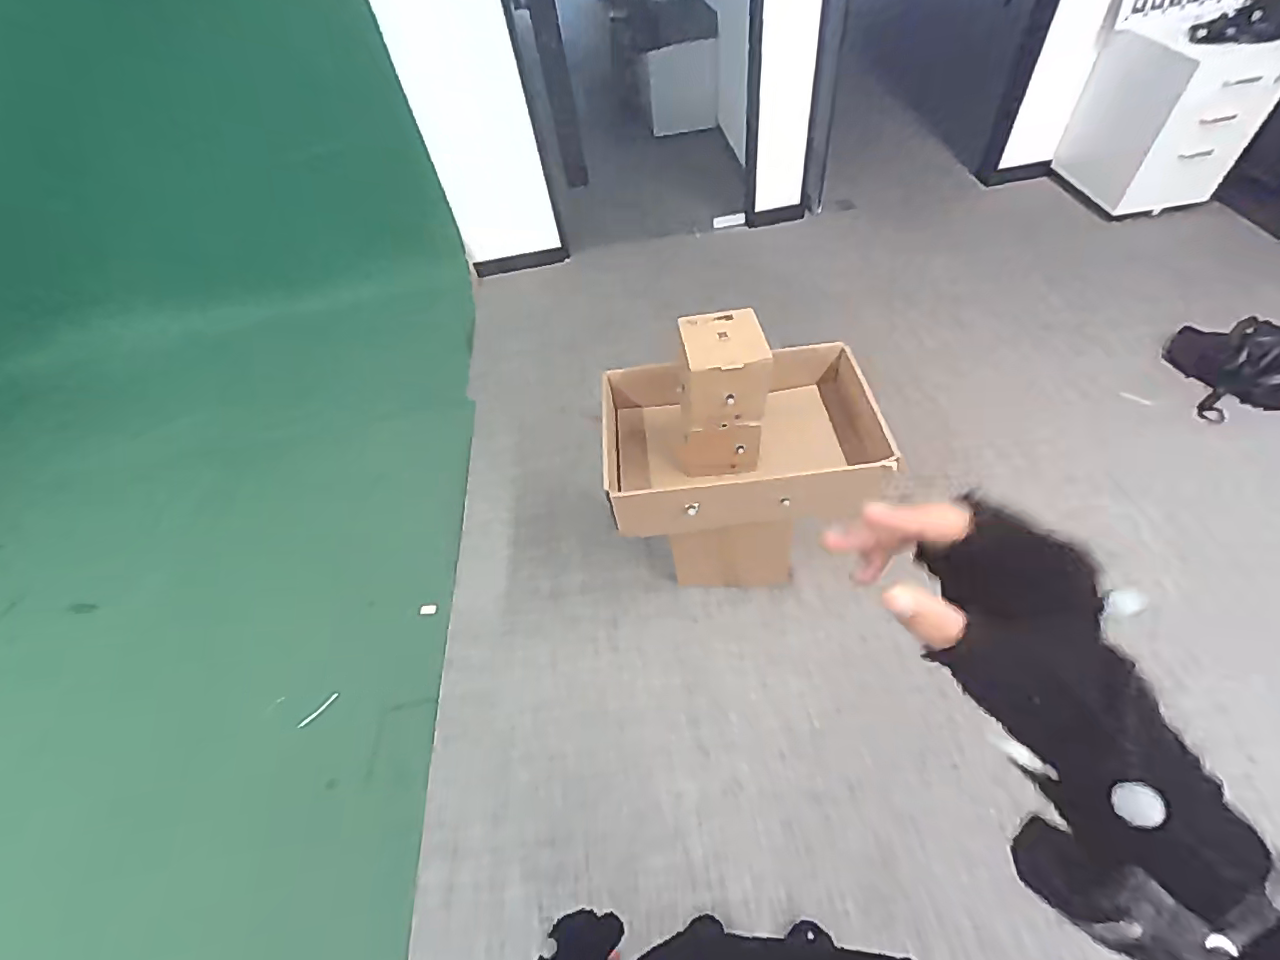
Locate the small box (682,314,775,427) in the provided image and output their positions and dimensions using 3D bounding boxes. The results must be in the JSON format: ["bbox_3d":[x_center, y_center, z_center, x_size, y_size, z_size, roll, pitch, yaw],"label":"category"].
[{"bbox_3d":[0.185,-0.230,1.173,0.168,0.176,0.179,-7,52,0],"label":"small box"}]

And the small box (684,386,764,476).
[{"bbox_3d":[0.196,-0.122,1.297,0.168,0.176,0.179,-5,50,1],"label":"small box"}]
